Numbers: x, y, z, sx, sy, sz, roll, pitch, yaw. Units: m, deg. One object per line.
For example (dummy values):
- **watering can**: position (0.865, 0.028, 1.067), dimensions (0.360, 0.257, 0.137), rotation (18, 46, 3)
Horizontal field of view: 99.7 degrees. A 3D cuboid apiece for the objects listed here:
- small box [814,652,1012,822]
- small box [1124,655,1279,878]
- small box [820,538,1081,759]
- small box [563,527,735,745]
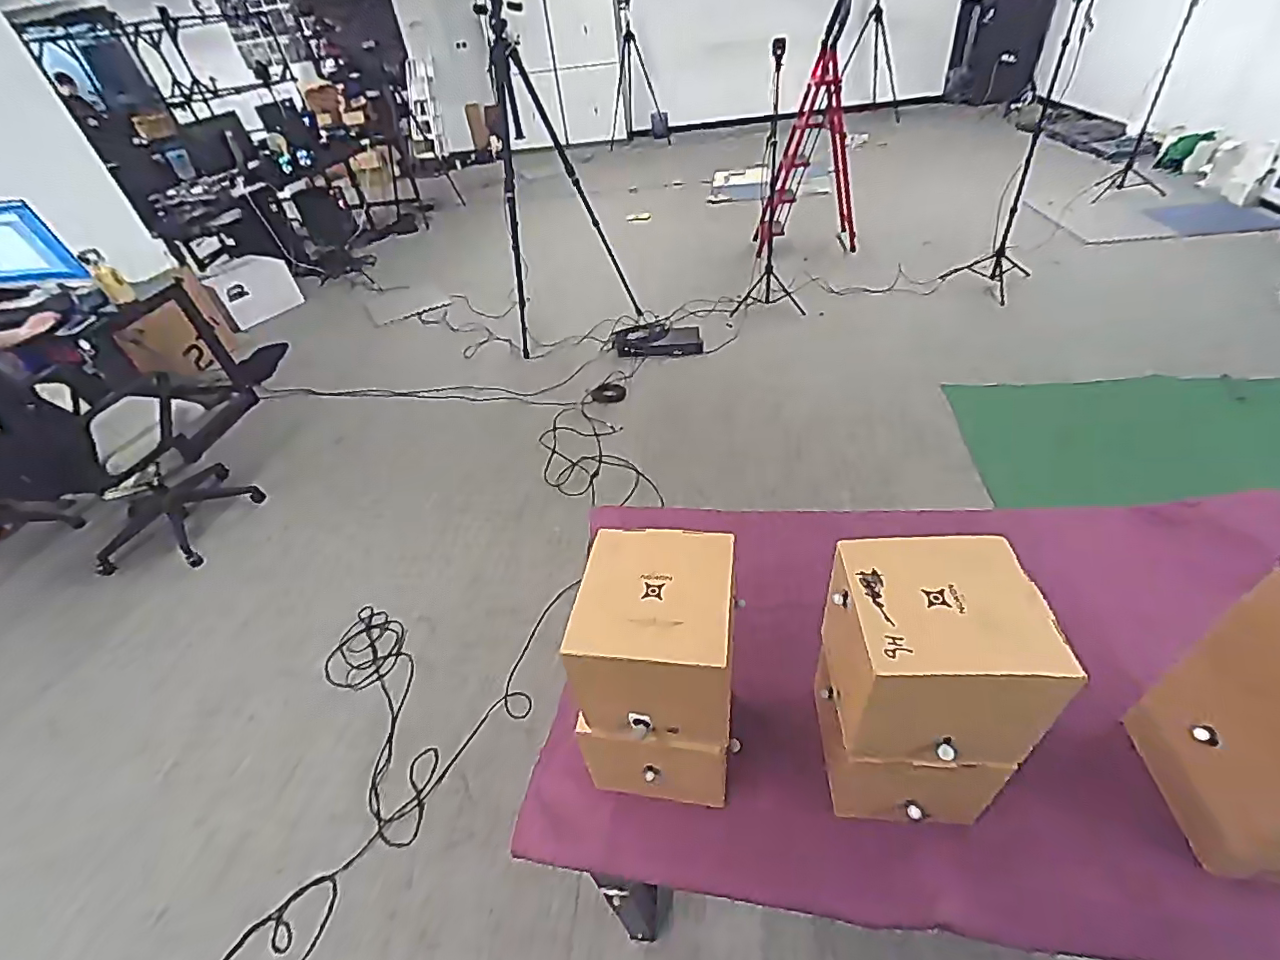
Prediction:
- **small box**: position (0.323, 0.303, 0.687), dimensions (0.168, 0.176, 0.179), rotation (-1, 41, 8)
- **small box**: position (0.709, 0.321, 0.607), dimensions (0.168, 0.176, 0.179), rotation (0, 42, 9)
- **small box**: position (0.304, 0.180, 0.580), dimensions (0.179, 0.176, 0.168), rotation (-1, 40, 7)
- **small box**: position (0.024, 0.176, 0.629), dimensions (0.168, 0.176, 0.179), rotation (1, 41, 12)
